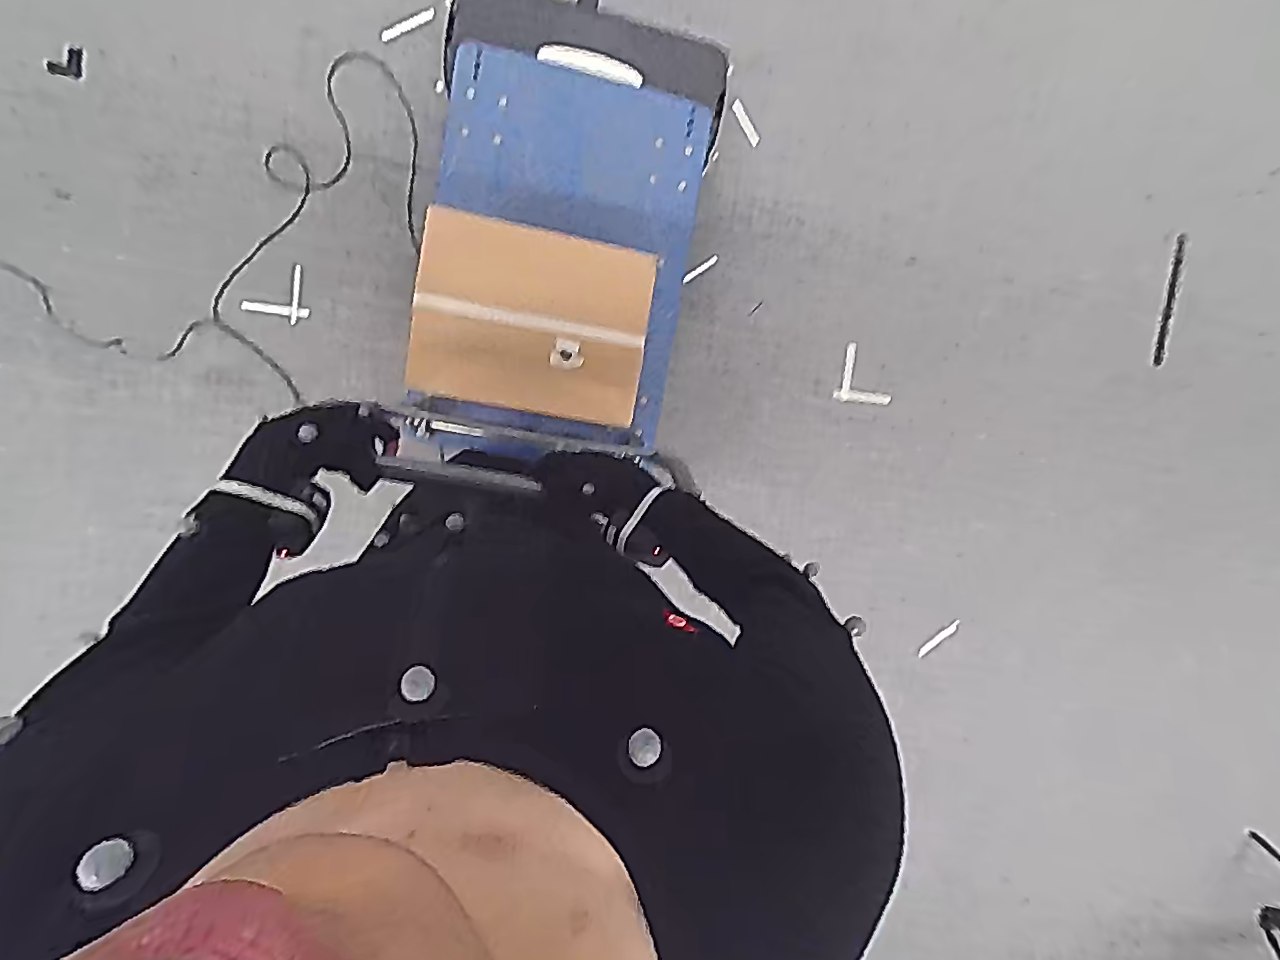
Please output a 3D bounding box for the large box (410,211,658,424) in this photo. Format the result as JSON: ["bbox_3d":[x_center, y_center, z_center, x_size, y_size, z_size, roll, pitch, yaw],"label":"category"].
[{"bbox_3d":[-0.207,-0.295,1.100,0.408,0.320,0.320,9,95,-9],"label":"large box"}]
